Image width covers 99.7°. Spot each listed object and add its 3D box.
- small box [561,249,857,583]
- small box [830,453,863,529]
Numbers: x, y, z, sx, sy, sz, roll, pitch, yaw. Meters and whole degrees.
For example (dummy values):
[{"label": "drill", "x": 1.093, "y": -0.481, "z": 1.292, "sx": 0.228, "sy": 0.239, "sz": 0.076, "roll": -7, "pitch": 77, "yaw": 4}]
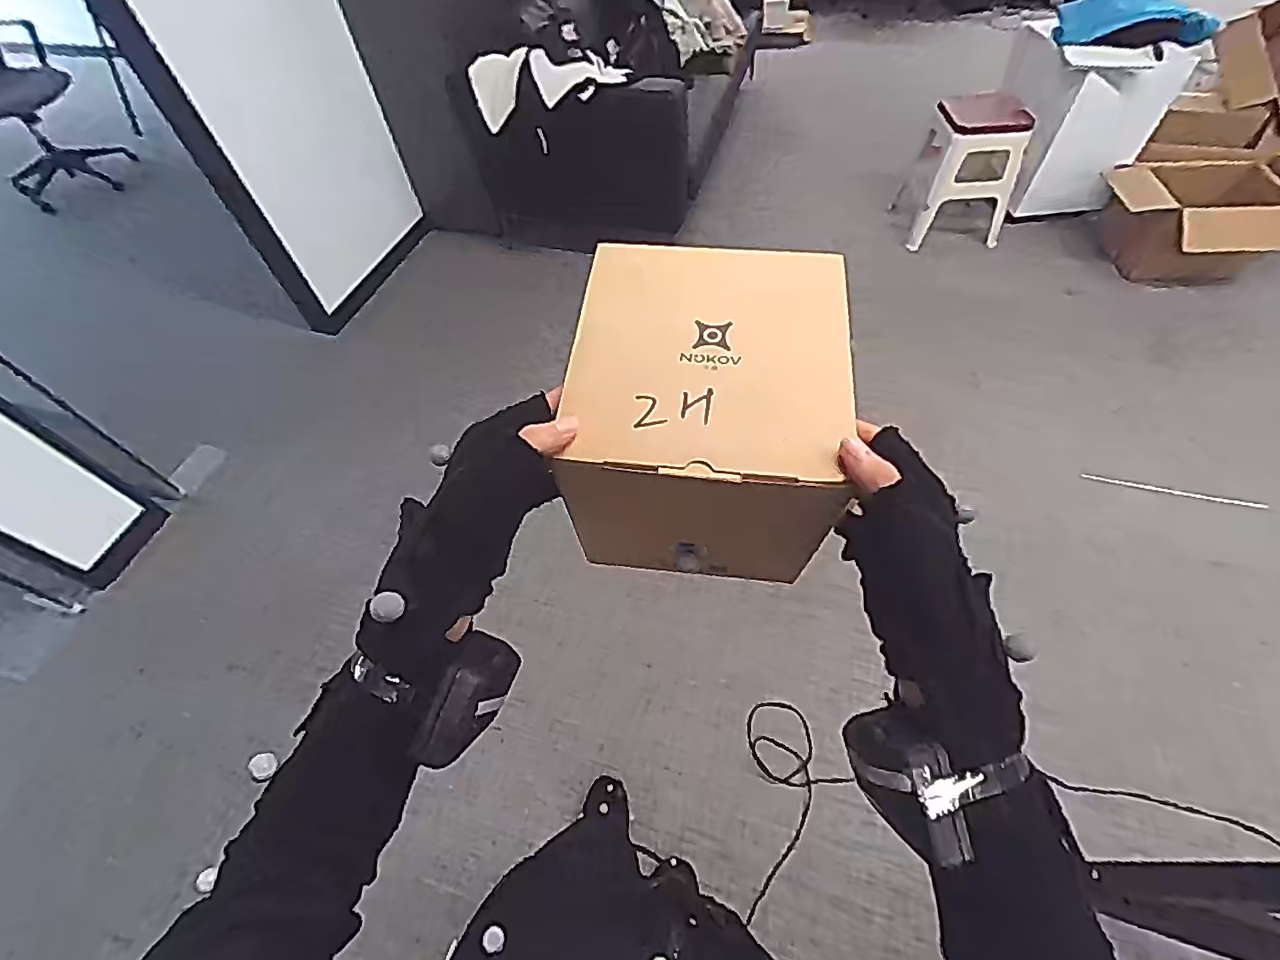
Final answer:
[{"label": "small box", "x": 0.050, "y": -0.041, "z": 0.404, "sx": 0.168, "sy": 0.176, "sz": 0.179, "roll": 6, "pitch": 62, "yaw": 6}, {"label": "small box", "x": 0.557, "y": 0.023, "z": 1.621, "sx": 0.168, "sy": 0.176, "sz": 0.179, "roll": 11, "pitch": 55, "yaw": 12}]
